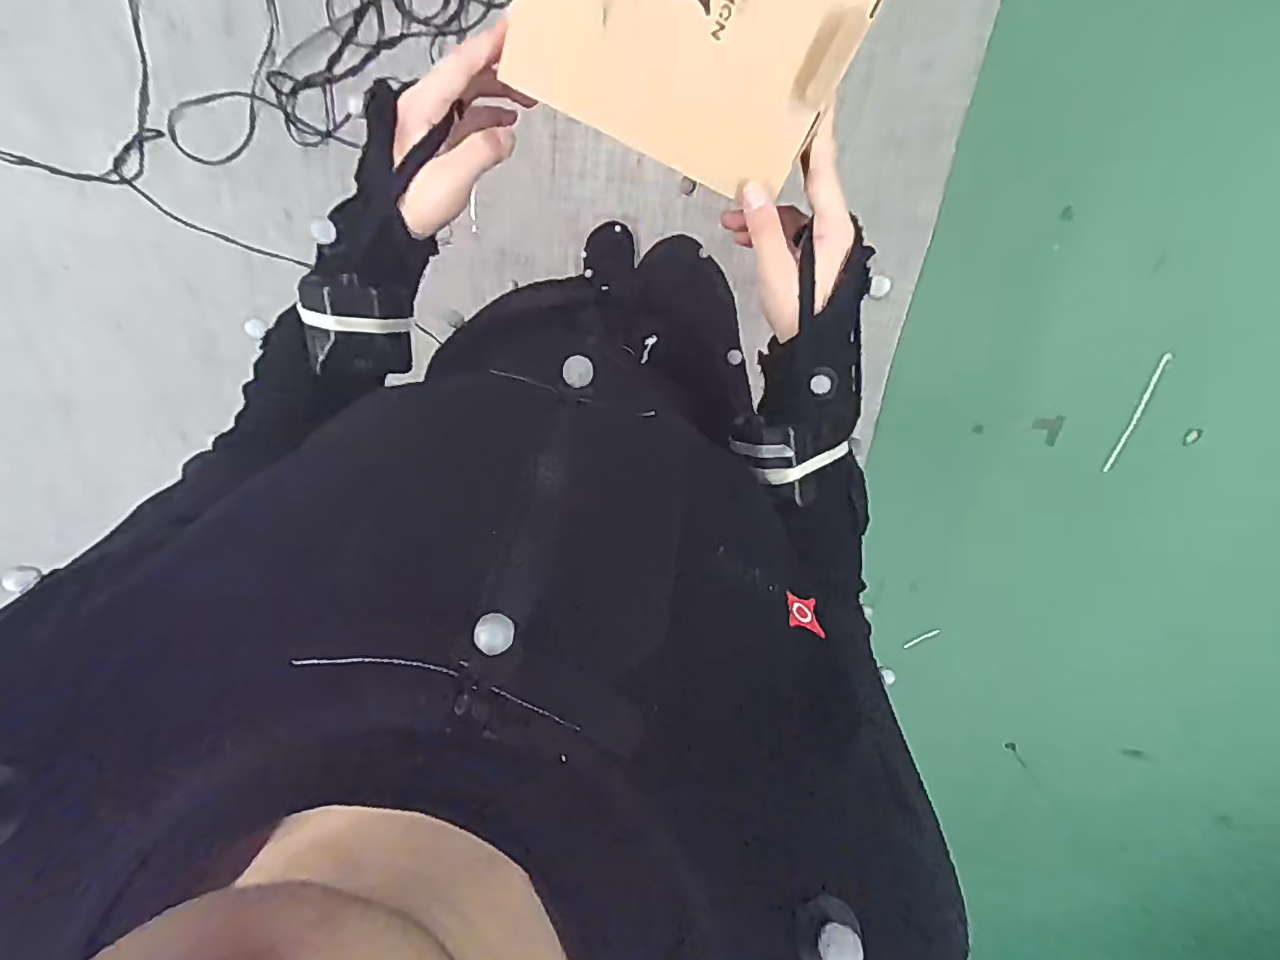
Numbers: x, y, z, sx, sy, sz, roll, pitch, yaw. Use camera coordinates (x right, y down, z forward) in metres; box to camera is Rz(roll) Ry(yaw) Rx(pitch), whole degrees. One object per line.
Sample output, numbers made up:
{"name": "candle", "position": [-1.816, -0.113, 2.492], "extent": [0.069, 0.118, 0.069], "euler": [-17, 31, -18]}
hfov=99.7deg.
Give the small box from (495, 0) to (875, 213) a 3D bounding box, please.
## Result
{"name": "small box", "position": [0.030, -0.298, 0.339], "extent": [0.179, 0.176, 0.168], "euler": [19, 122, -13]}
